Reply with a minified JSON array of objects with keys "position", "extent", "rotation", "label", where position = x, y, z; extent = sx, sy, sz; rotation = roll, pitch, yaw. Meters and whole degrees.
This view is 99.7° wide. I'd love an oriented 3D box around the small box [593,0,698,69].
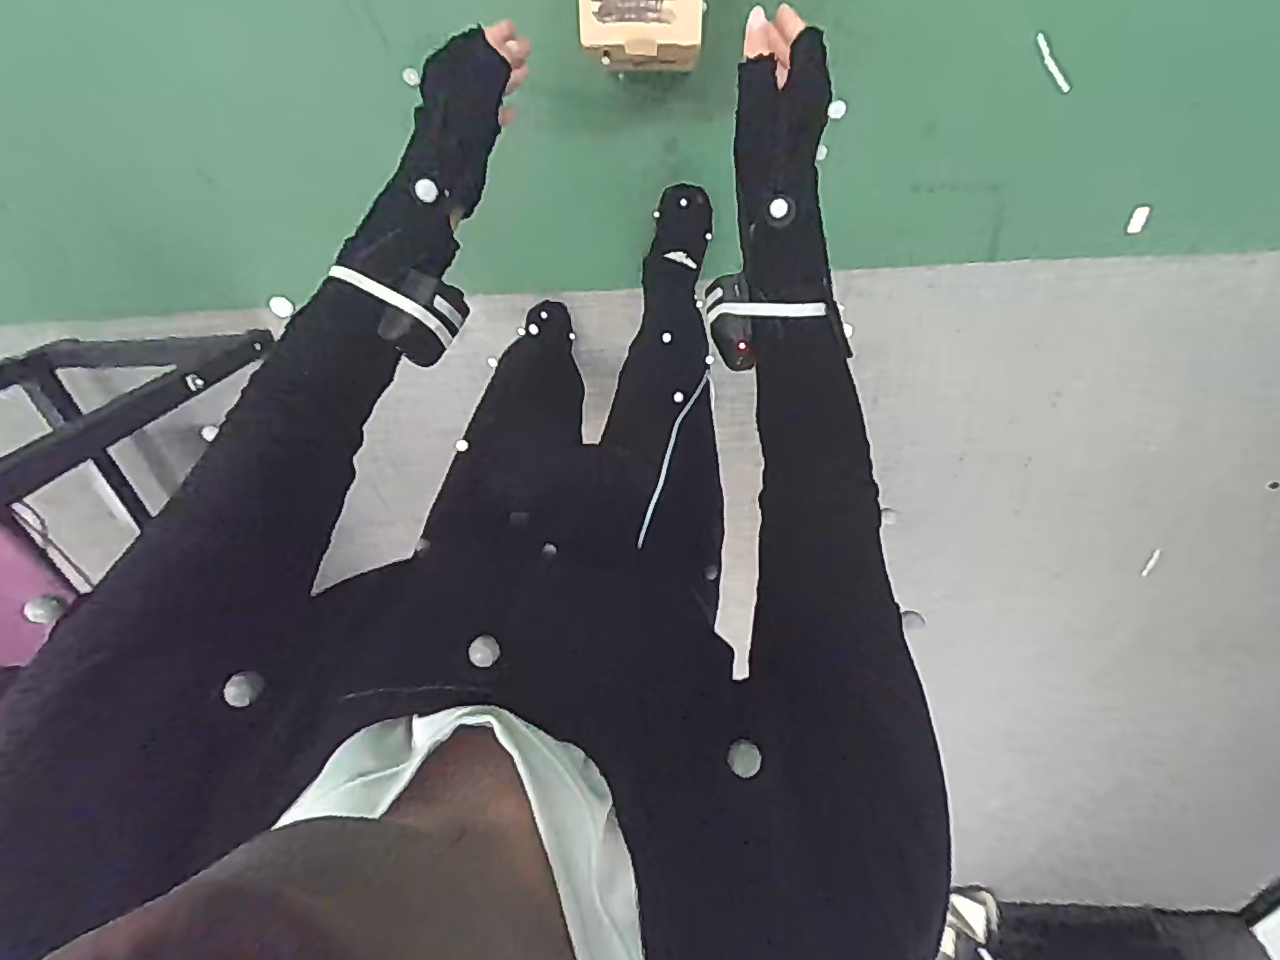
[{"position":[0.013,-0.791,0.891],"extent":[0.168,0.176,0.179],"rotation":[-1,125,3],"label":"small box"}]
